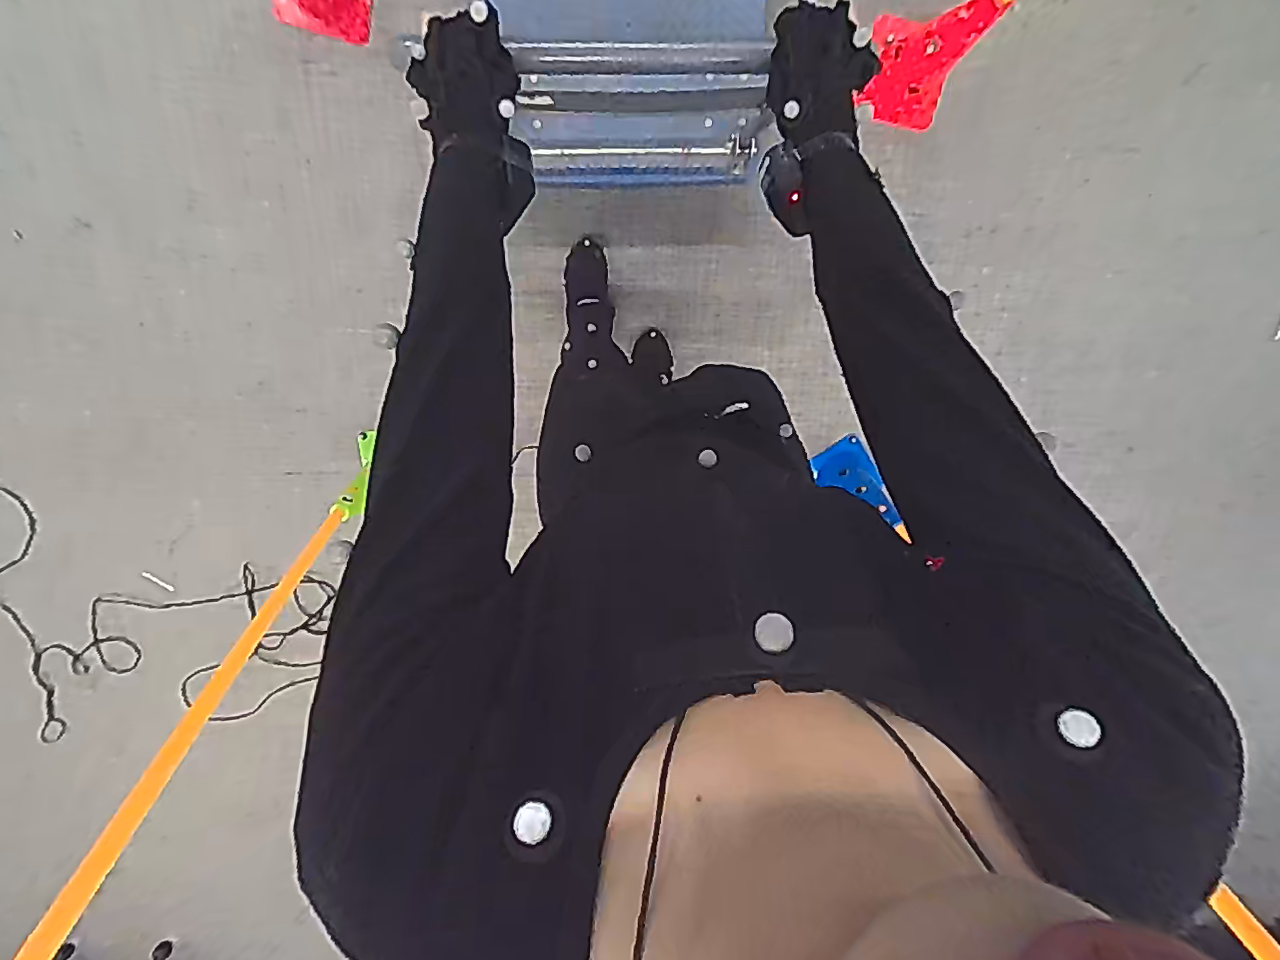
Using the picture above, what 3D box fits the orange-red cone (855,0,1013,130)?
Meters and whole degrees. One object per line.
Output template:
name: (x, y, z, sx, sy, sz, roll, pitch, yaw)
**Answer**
orange-red cone: (0.612, -0.872, 1.072, 0.198, 0.360, 0.199, 11, 109, -5)
